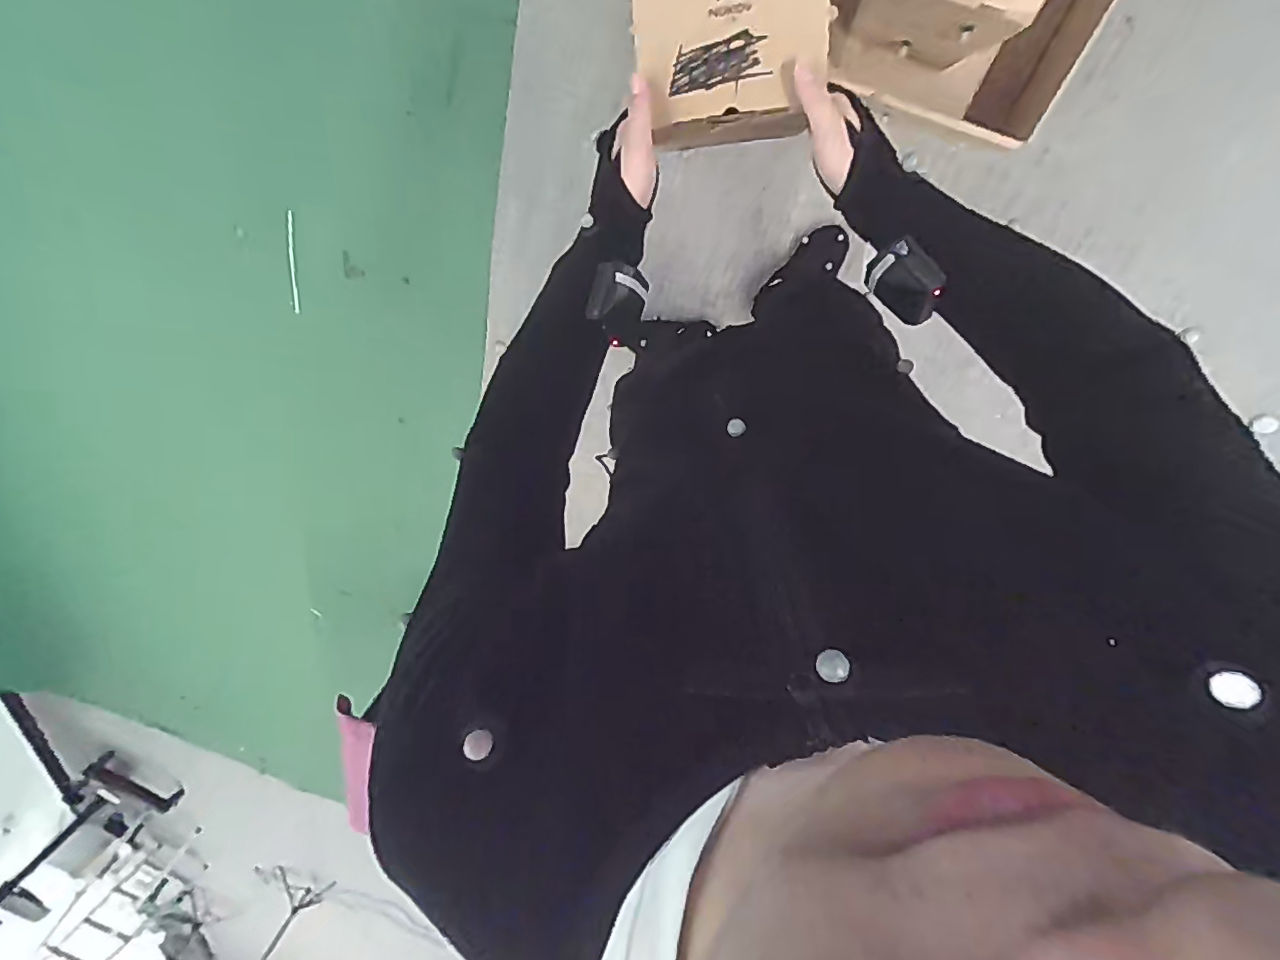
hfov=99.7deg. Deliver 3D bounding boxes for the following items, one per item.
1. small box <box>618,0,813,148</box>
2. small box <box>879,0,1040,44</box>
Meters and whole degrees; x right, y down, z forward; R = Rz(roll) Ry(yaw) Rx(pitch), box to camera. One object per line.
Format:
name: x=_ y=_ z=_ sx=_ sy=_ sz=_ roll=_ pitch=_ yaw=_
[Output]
small box: x=0.074 y=-0.438 z=0.526 sx=0.168 sy=0.176 sz=0.179 roll=-2 pitch=113 yaw=9
small box: x=0.380 y=-0.621 z=0.594 sx=0.168 sy=0.176 sz=0.179 roll=22 pitch=121 yaw=1
